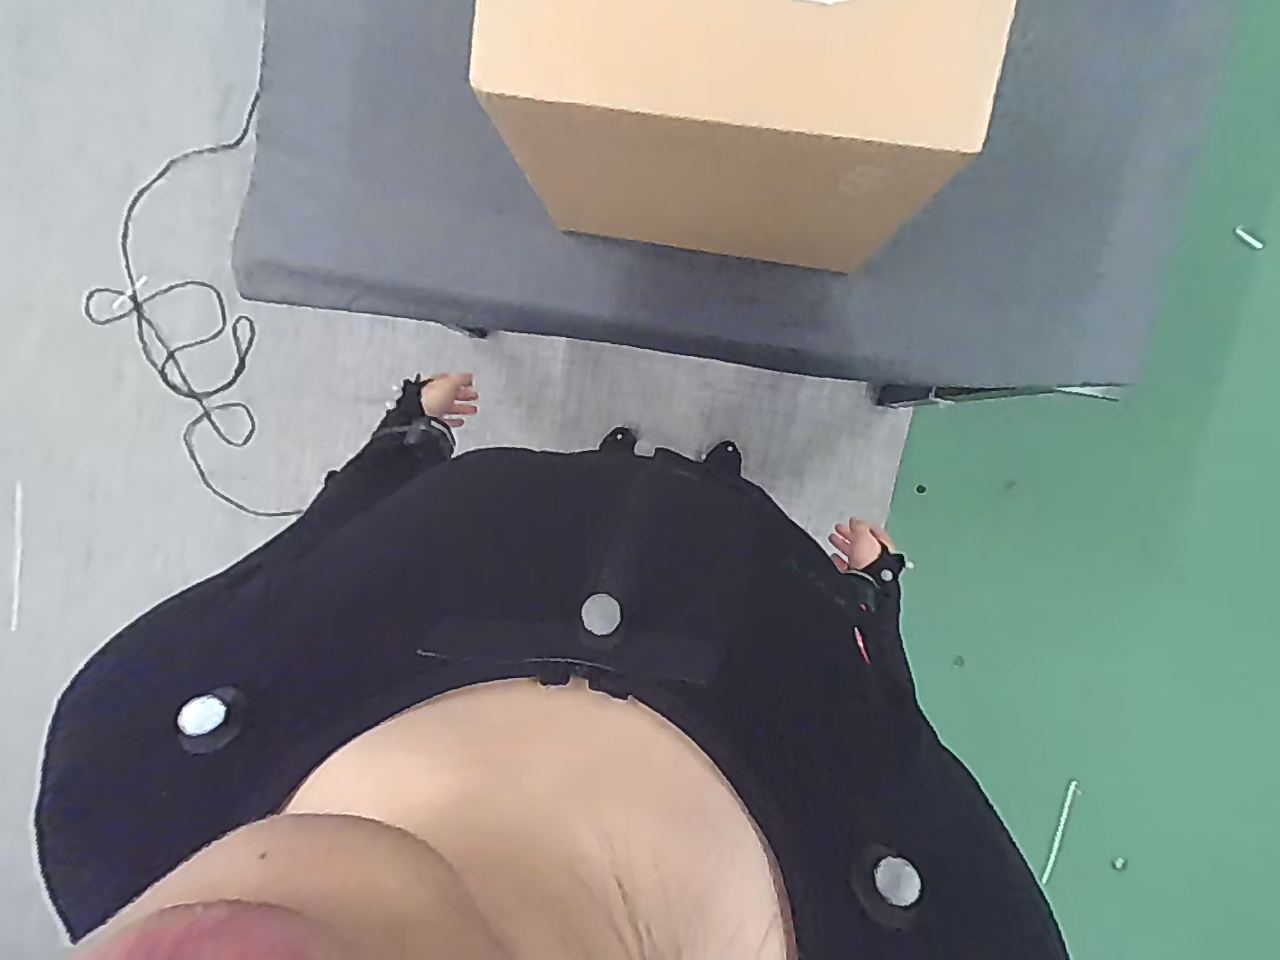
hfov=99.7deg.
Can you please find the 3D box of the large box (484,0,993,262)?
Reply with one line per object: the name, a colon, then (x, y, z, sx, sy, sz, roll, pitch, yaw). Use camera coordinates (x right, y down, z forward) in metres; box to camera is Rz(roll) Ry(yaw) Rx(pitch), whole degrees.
large box: (0.092, -0.453, 0.572, 0.408, 0.320, 0.320, 9, 96, 3)
